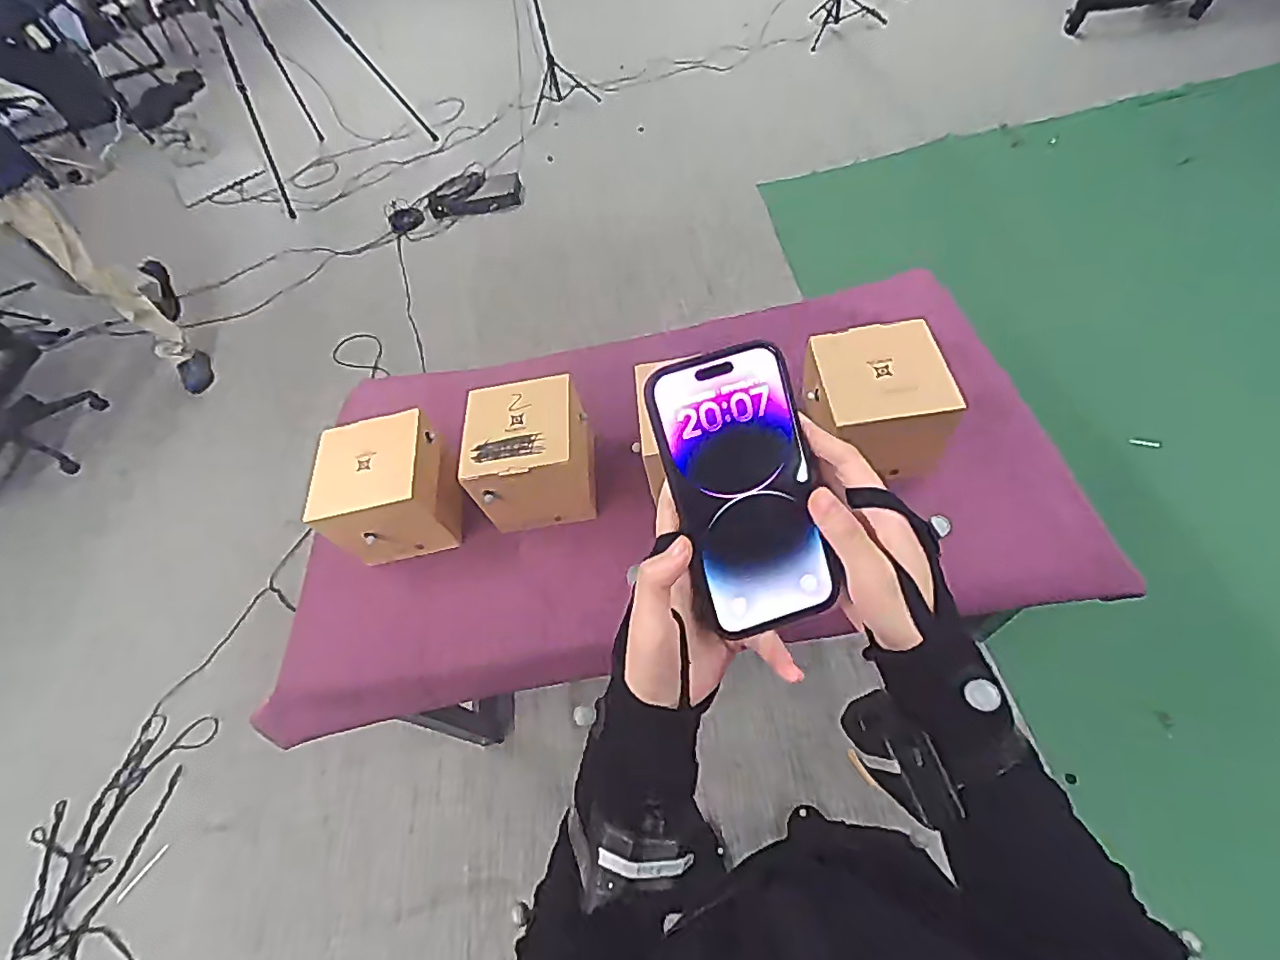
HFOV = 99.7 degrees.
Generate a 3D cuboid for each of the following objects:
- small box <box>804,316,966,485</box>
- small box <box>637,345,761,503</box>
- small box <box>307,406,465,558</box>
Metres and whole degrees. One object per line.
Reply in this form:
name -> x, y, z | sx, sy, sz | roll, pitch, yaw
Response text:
small box -> 0.349, -0.115, 0.813 | 0.168, 0.176, 0.179 | -7, 56, 8
small box -> 0.093, -0.076, 0.838 | 0.168, 0.176, 0.179 | -8, 56, 6
small box -> -0.398, 0.013, 0.881 | 0.168, 0.176, 0.179 | -13, 55, 3
